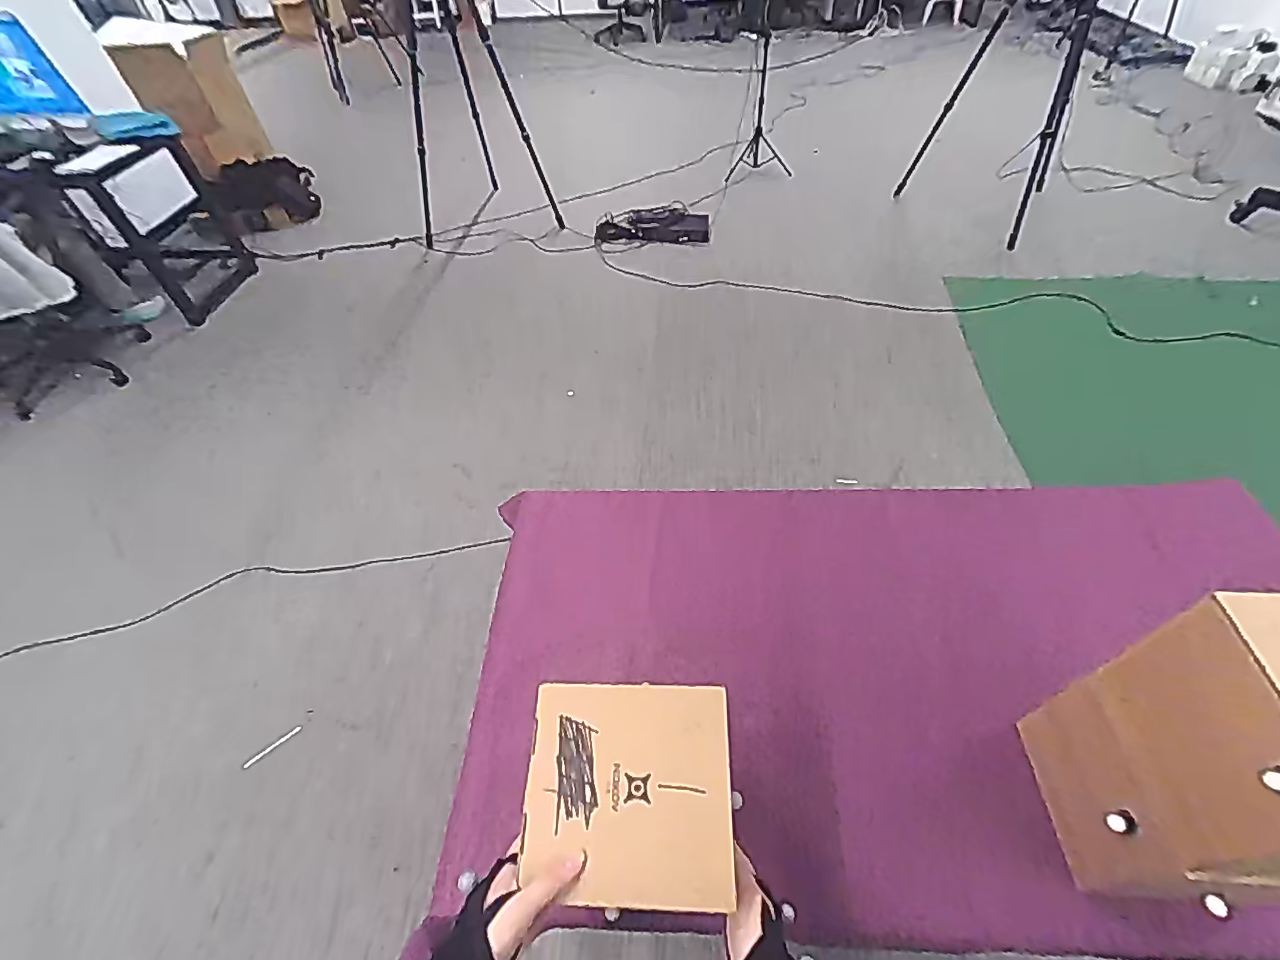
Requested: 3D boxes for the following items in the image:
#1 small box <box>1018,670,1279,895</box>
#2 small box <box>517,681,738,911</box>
[{"bbox_3d":[0.546,0.318,0.567,0.168,0.176,0.179,1,49,4],"label":"small box"},{"bbox_3d":[-0.002,0.298,0.524,0.179,0.176,0.168,-1,59,4],"label":"small box"}]
